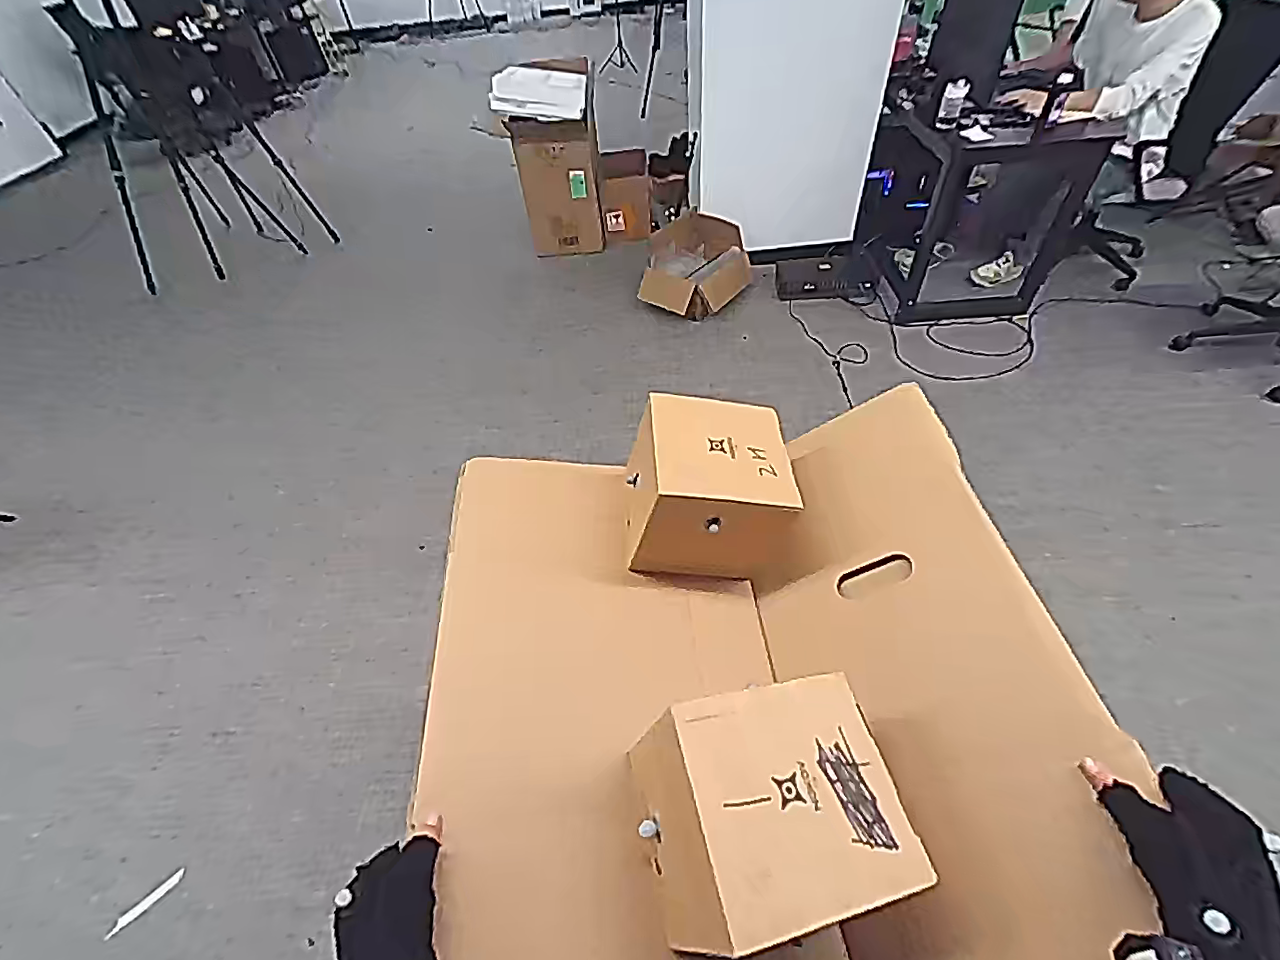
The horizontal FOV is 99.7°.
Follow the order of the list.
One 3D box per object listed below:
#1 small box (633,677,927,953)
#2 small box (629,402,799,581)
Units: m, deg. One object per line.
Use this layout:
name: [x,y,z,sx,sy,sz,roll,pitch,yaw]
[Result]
small box: [0.107,0.301,0.497,0.179,0.176,0.168,-3,52,-18]
small box: [0.082,0.021,0.722,0.179,0.176,0.168,7,50,-11]
